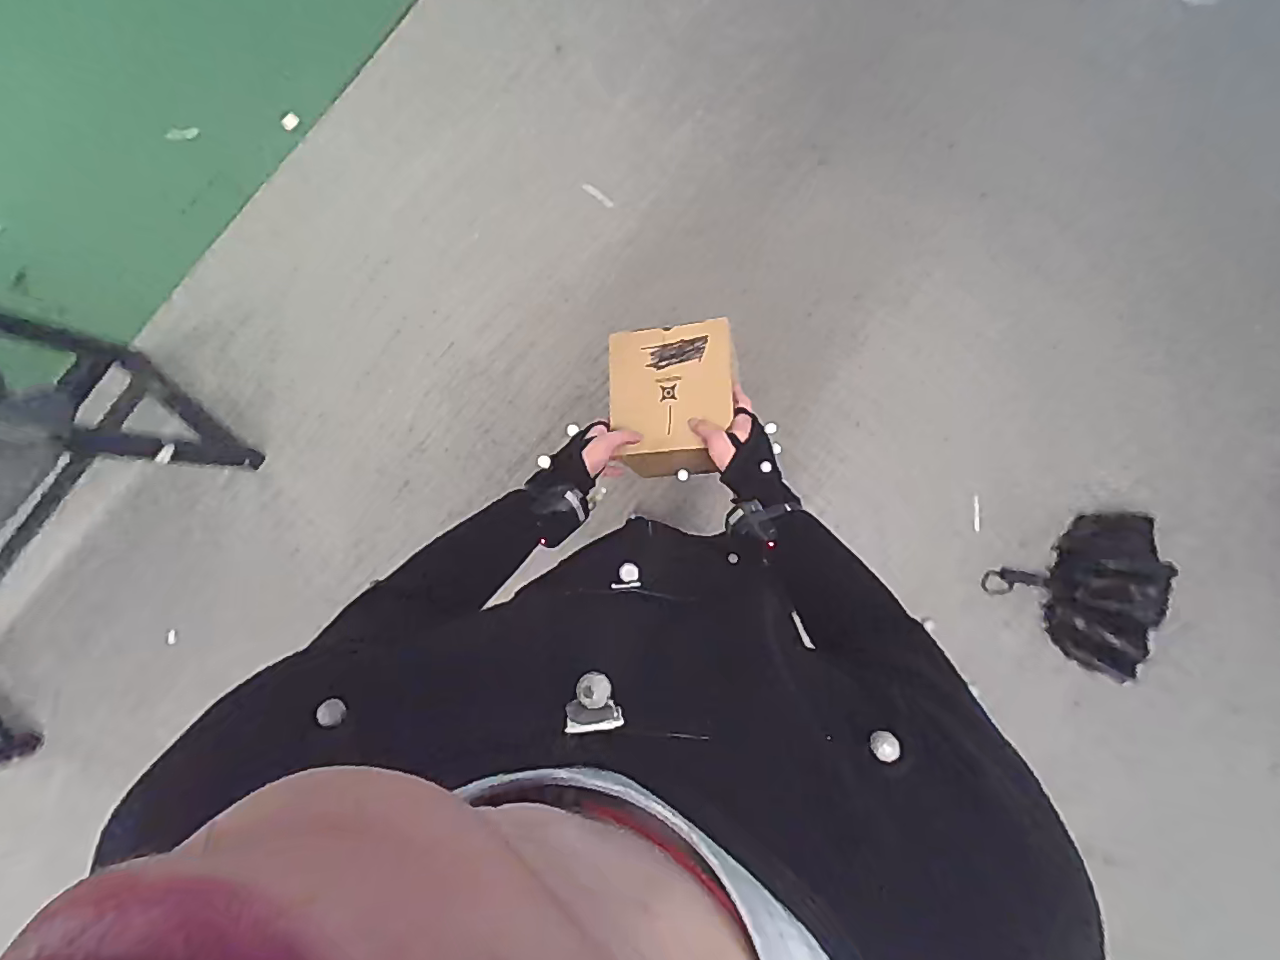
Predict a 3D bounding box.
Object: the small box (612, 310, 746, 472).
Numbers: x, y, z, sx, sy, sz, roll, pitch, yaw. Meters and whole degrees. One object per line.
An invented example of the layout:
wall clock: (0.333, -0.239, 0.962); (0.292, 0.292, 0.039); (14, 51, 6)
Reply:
small box: (0.062, -0.117, 0.781); (0.168, 0.176, 0.179); (-5, 79, 15)
